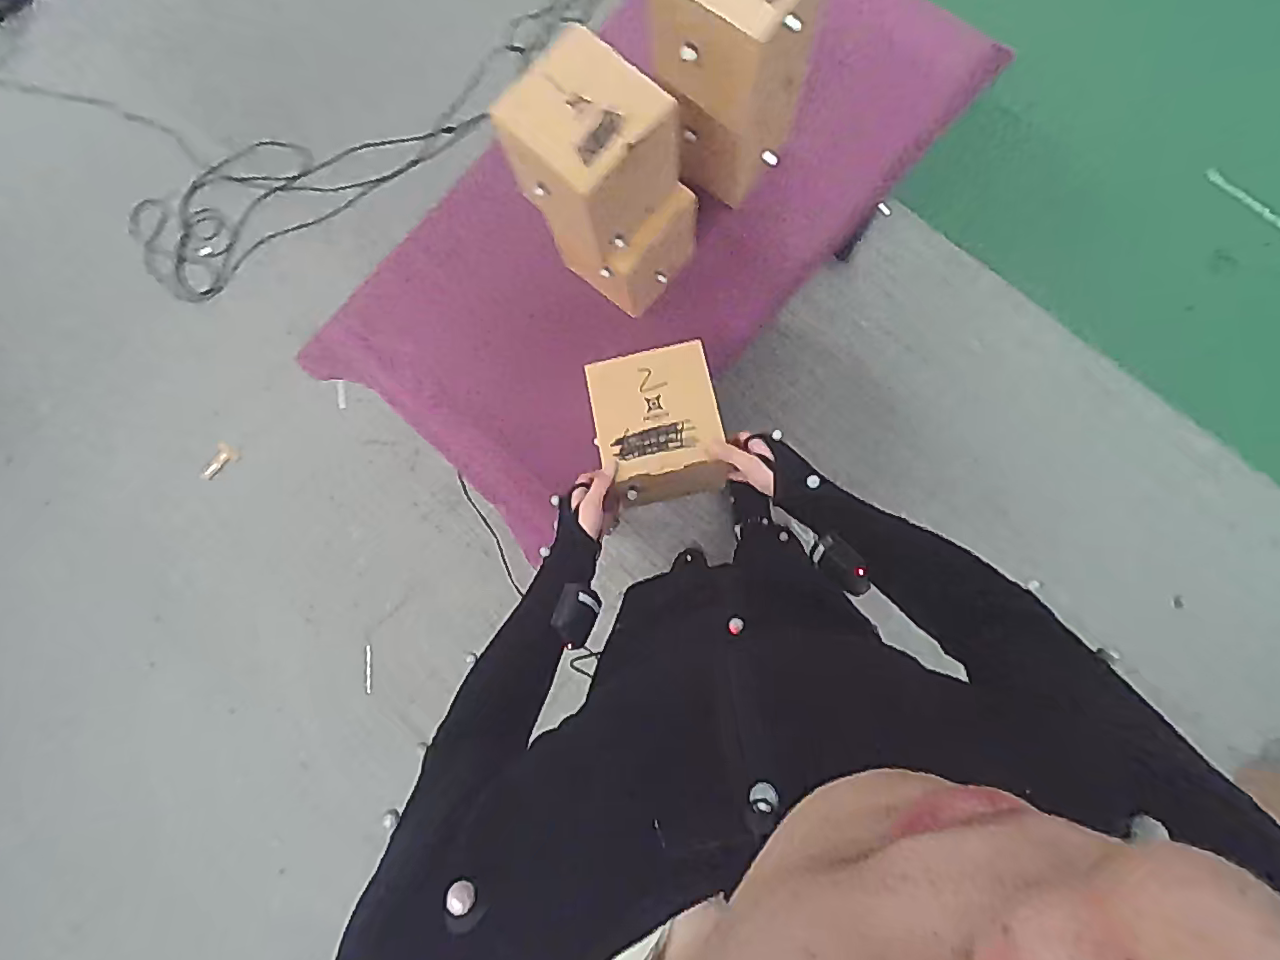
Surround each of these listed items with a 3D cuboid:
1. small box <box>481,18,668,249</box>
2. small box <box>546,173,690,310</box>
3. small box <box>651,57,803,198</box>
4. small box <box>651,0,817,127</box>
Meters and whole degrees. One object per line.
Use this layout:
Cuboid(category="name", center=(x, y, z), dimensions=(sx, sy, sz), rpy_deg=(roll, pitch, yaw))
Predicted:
Cuboid(category="small box", center=(-0.075, -0.451, 0.739), dimensions=(0.179, 0.176, 0.168), rpy_deg=(43, 88, 8))
Cuboid(category="small box", center=(-0.036, -0.417, 0.898), dimensions=(0.179, 0.176, 0.168), rpy_deg=(39, 87, 7))
Cuboid(category="small box", center=(0.137, -0.619, 0.907), dimensions=(0.179, 0.176, 0.168), rpy_deg=(38, 87, 7))
Cuboid(category="small box", center=(0.125, -0.639, 0.744), dimensions=(0.179, 0.176, 0.168), rpy_deg=(37, 87, 8))
